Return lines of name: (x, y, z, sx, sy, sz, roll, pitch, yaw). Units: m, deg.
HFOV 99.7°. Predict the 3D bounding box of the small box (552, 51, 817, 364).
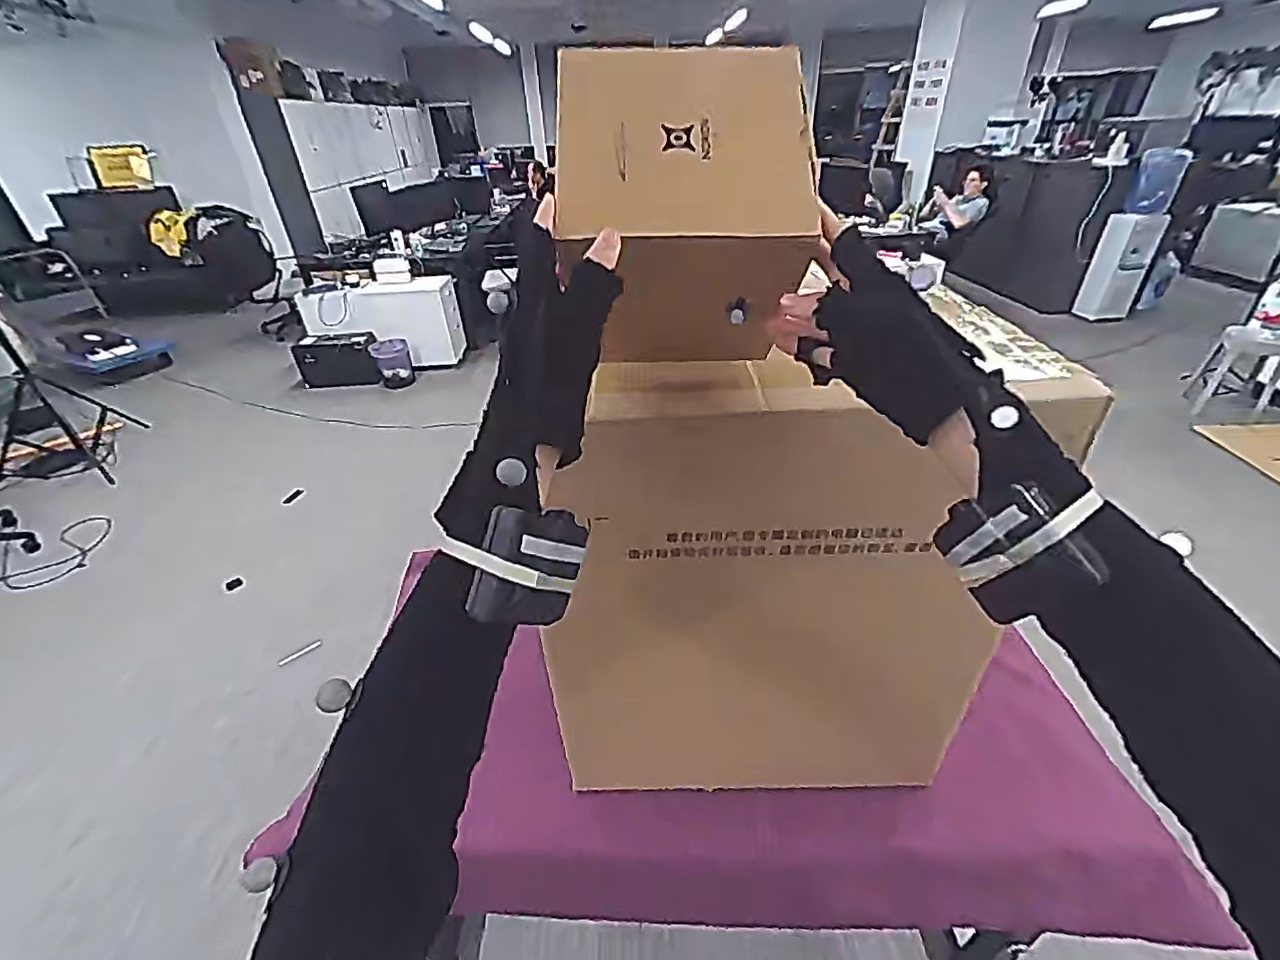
small box: (0.028, -0.210, 0.449, 0.179, 0.176, 0.168, -2, 72, 0)
